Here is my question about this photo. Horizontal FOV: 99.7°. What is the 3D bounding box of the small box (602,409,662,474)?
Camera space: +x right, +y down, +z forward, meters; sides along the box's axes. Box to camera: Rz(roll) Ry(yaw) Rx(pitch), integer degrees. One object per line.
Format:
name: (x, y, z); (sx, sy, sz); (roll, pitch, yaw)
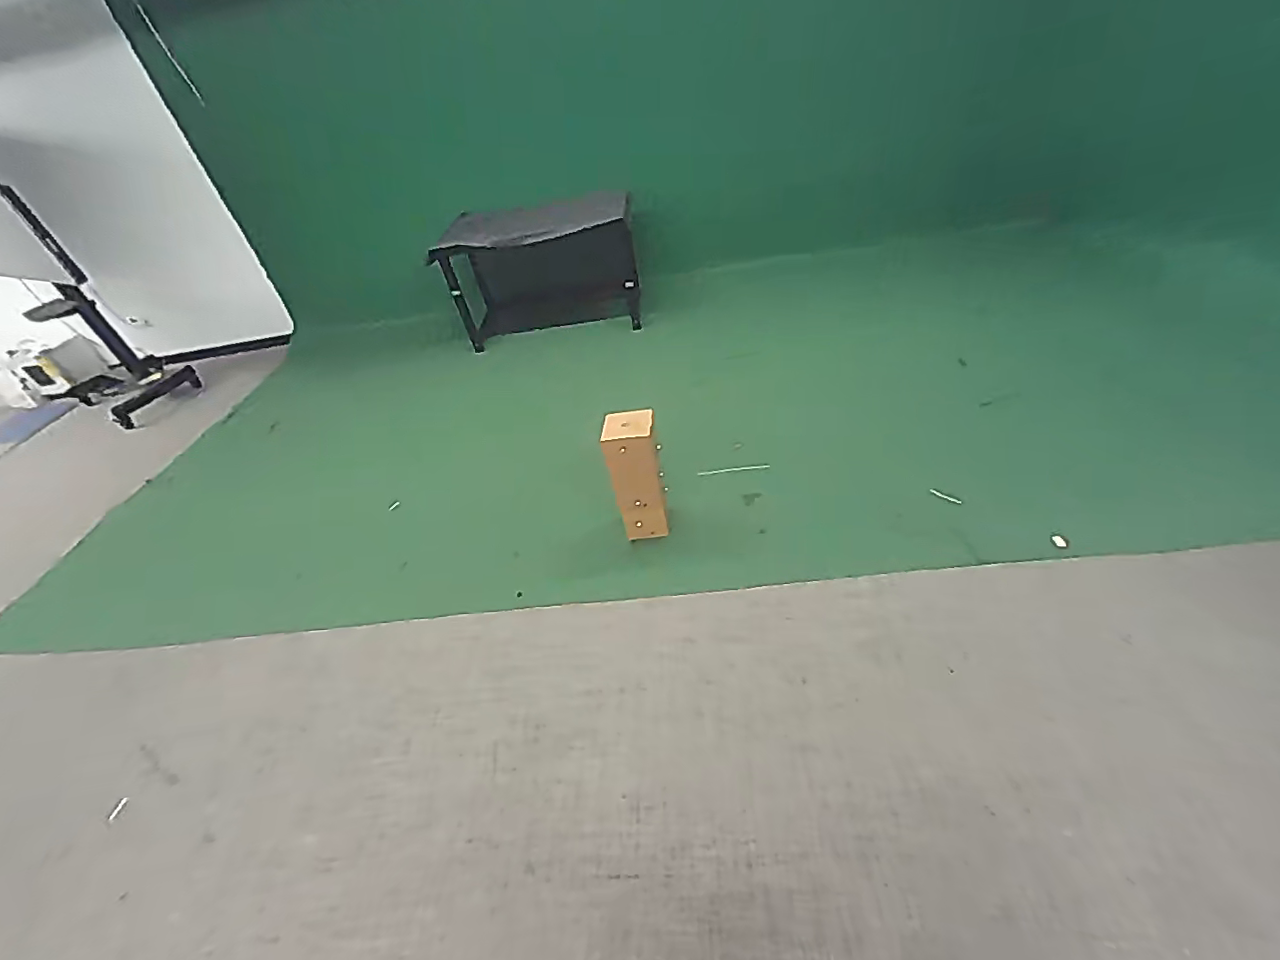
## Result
small box: (-0.025, -0.135, 1.941); (0.179, 0.176, 0.168); (-5, 40, 10)

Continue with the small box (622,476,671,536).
small box: (0.030, 0.111, 2.152); (0.168, 0.176, 0.179); (-7, 39, 8)
